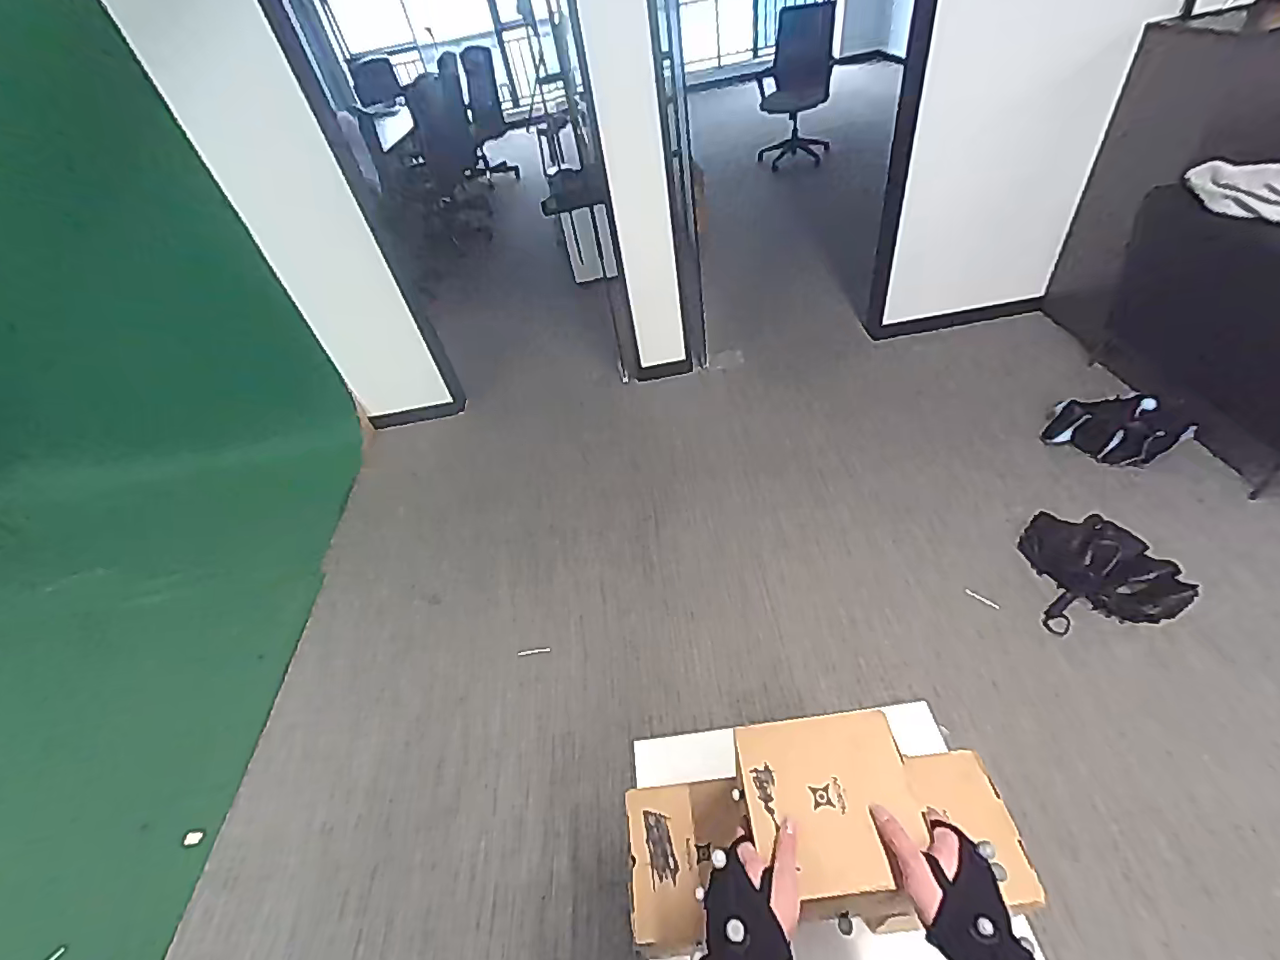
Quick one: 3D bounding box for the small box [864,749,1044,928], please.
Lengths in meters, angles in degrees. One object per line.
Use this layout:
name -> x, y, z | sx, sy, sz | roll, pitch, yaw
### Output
small box -> 0.376, 0.480, 0.722 | 0.179, 0.176, 0.168 | -8, 44, 4

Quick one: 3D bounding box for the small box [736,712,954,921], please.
small box -> 0.211, 0.384, 0.616 | 0.179, 0.176, 0.168 | -7, 45, 2

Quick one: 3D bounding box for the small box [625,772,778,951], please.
small box -> 0.079, 0.518, 0.733 | 0.179, 0.176, 0.168 | -7, 45, 0
